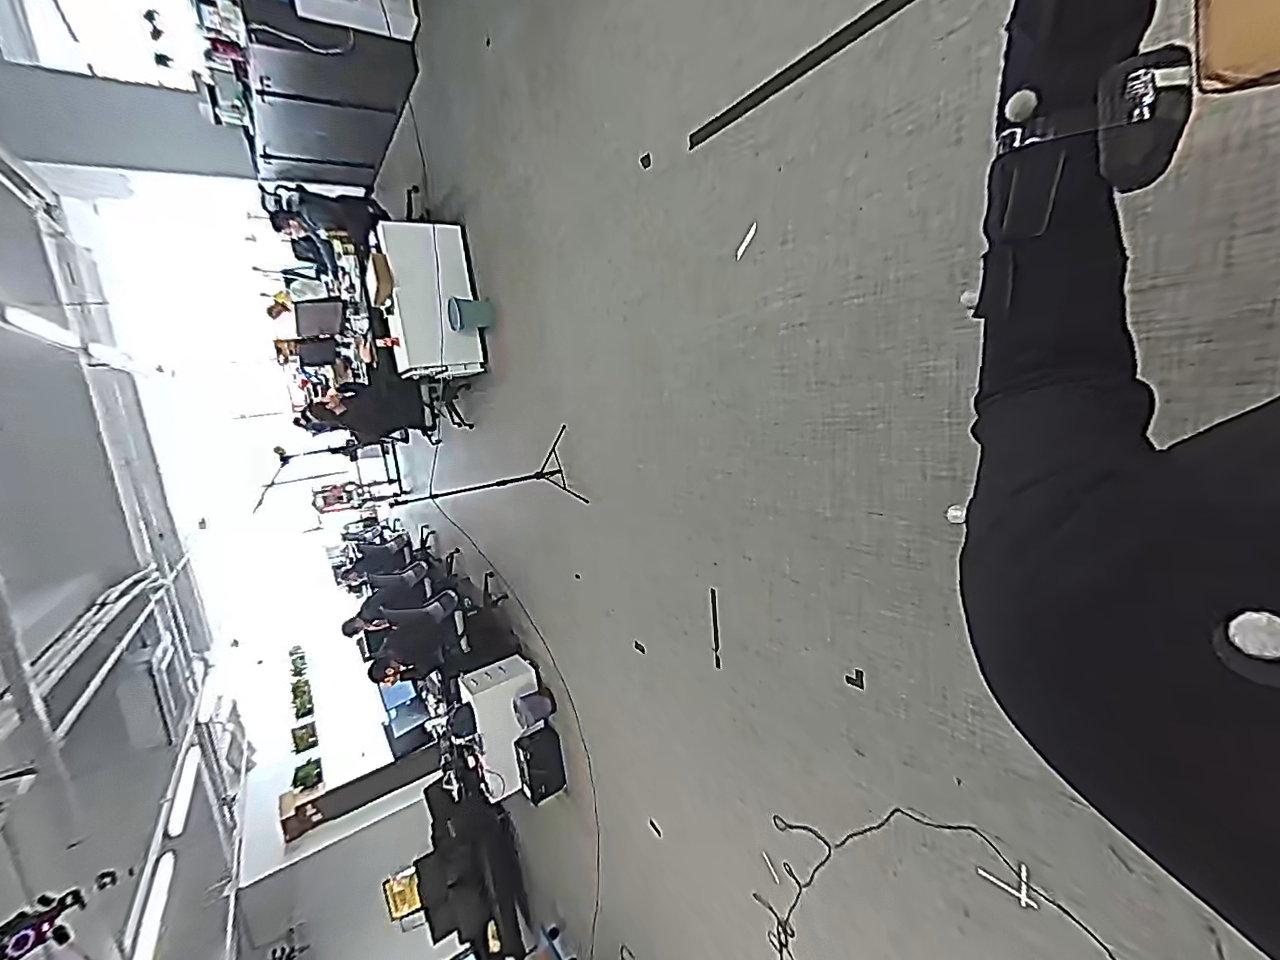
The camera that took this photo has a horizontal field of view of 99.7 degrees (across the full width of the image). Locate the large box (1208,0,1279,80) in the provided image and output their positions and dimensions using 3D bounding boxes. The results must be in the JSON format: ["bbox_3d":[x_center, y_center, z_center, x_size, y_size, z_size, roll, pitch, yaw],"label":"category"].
[{"bbox_3d":[0.496,-0.406,0.171,0.408,0.320,0.320,6,119,57],"label":"large box"}]
